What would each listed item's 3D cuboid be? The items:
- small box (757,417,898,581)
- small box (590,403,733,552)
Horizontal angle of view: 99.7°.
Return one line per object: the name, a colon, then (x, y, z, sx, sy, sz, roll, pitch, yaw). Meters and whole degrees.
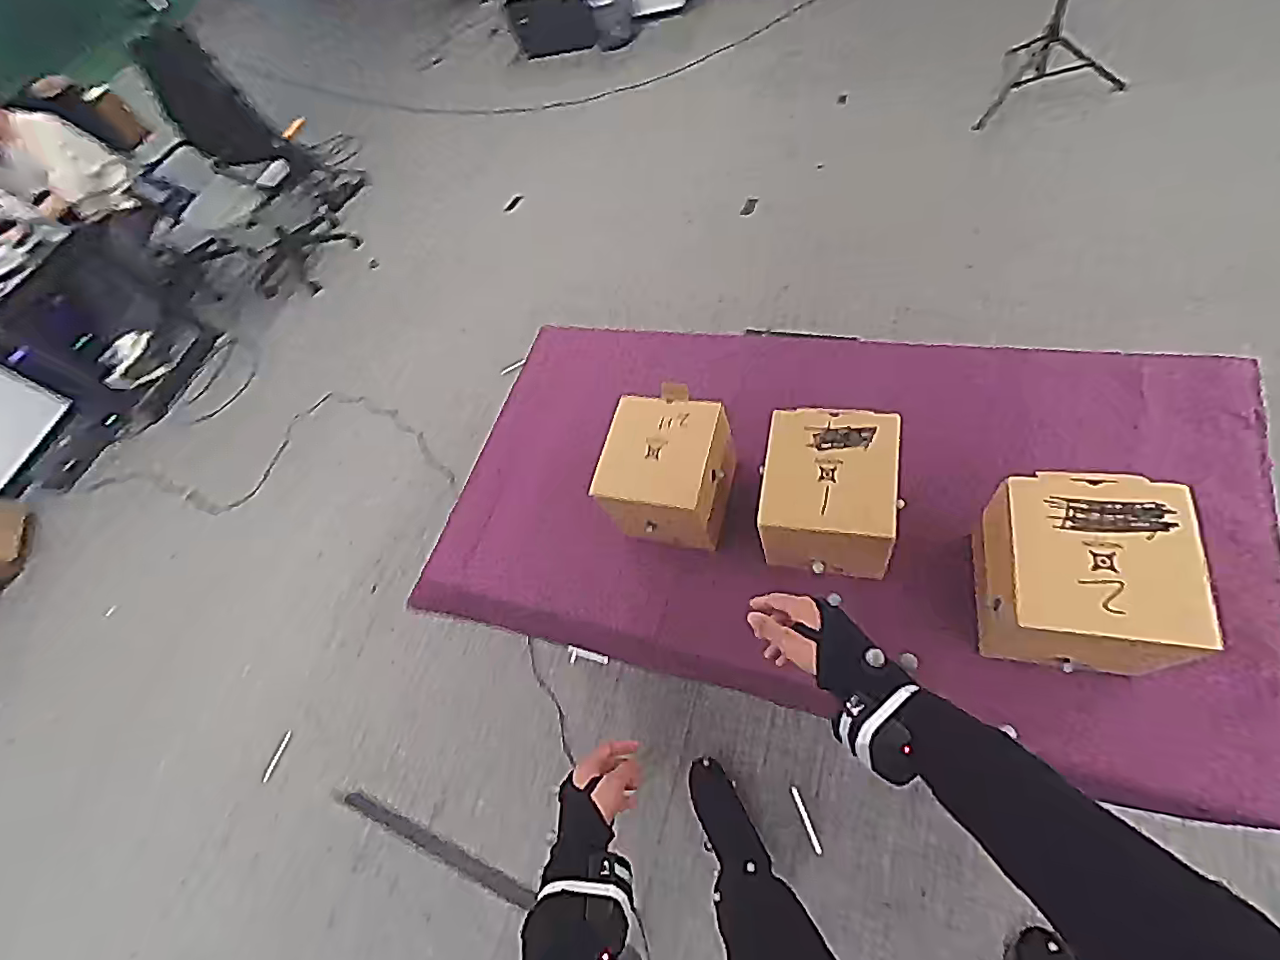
small box: (0.268, 0.029, 0.774, 0.168, 0.176, 0.179, 4, 65, 21)
small box: (0.046, 0.000, 0.865, 0.168, 0.176, 0.179, 8, 65, 21)
